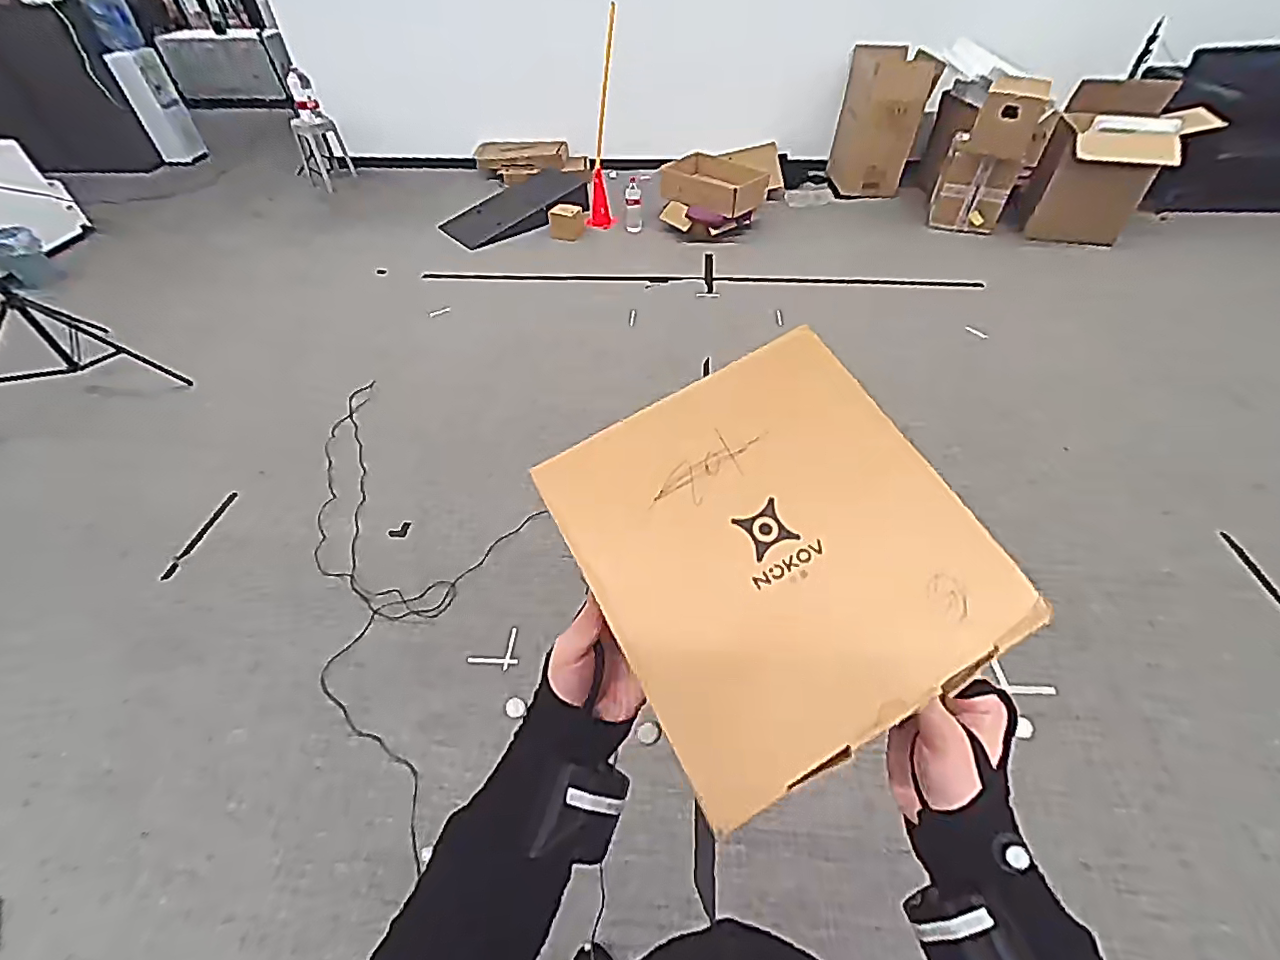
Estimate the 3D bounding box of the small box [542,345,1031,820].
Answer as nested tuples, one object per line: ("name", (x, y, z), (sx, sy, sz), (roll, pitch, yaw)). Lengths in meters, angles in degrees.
("small box", (0.065, 0.061, 0.328), (0.168, 0.176, 0.179), (-28, 67, -9))
